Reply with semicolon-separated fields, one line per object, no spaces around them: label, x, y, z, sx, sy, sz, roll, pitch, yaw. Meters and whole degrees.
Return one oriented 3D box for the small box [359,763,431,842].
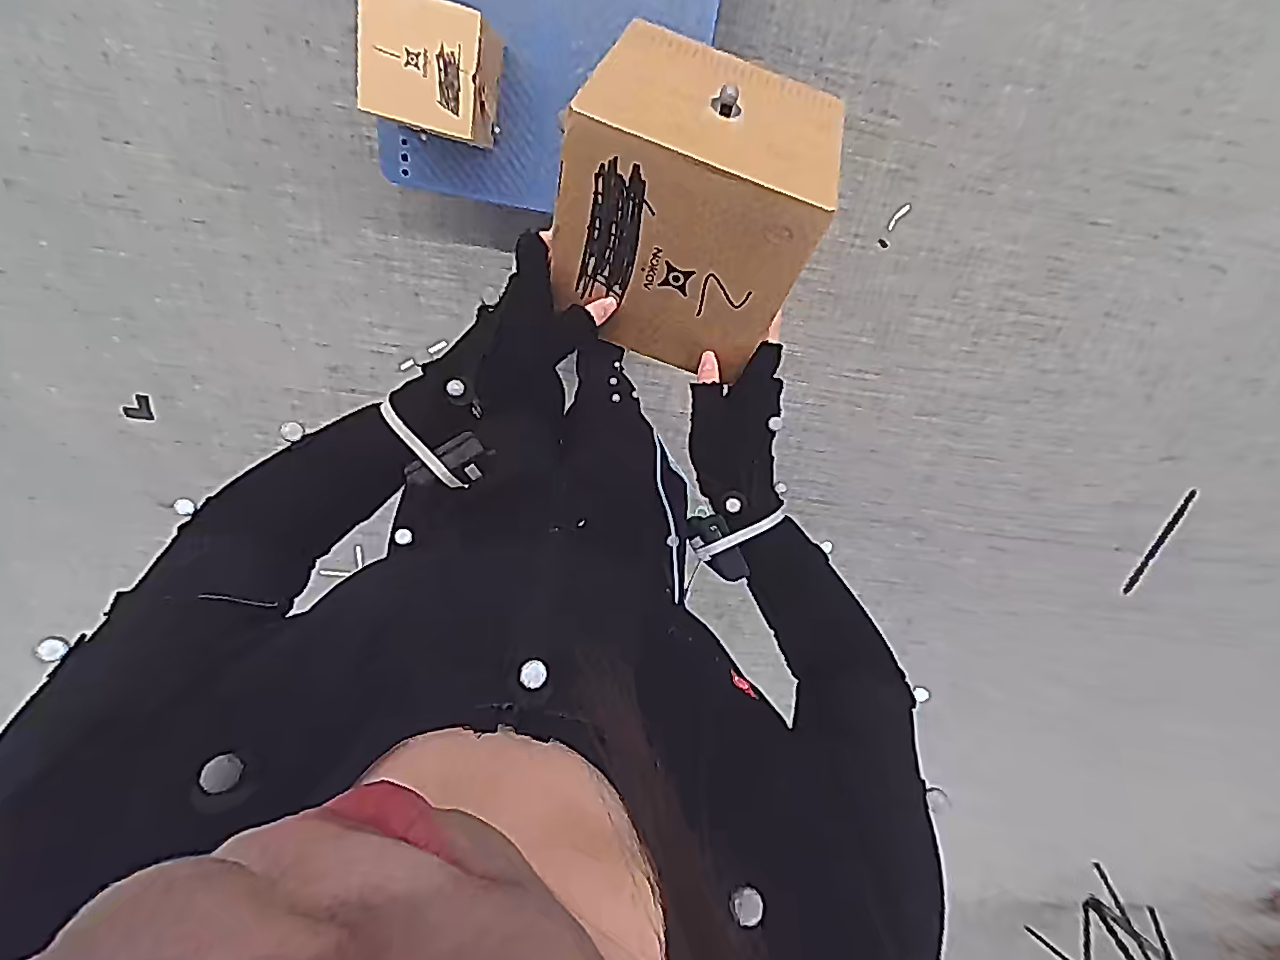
small box;-0.801;1.063;1.789;0.179;0.176;0.168;6;118;-5

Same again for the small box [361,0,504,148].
small box;-0.328;-0.654;0.876;0.179;0.176;0.168;12;116;-8

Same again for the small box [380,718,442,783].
small box;-0.814;0.987;1.931;0.168;0.176;0.179;9;116;-7
